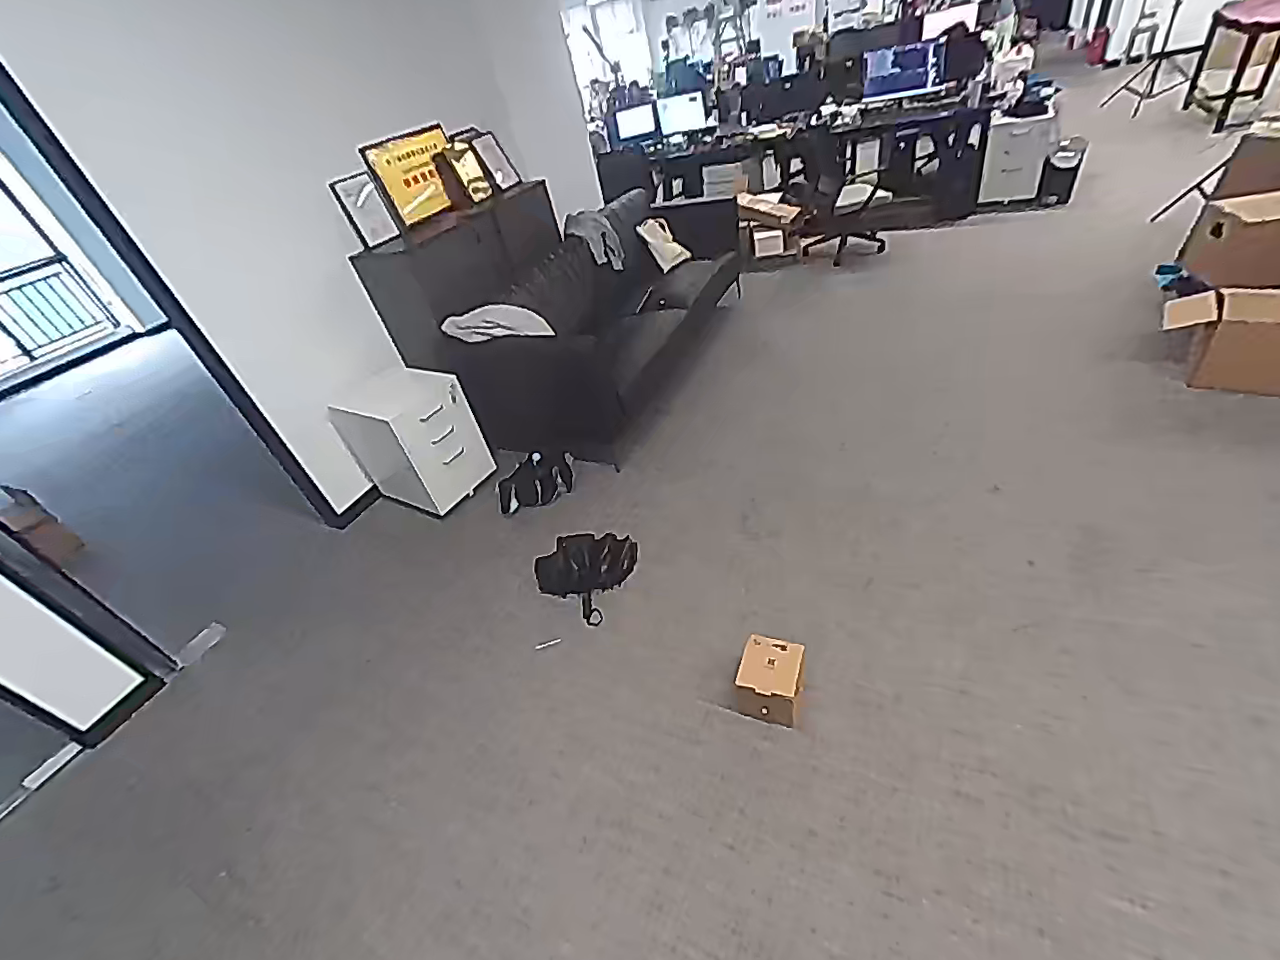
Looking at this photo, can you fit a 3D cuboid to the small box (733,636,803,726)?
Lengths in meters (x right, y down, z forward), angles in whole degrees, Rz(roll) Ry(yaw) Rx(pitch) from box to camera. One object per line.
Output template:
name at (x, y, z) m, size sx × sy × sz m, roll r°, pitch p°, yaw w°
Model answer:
small box at (0.389, 0.601, 1.614) m, size 0.168 × 0.176 × 0.179 m, roll 6°, pitch 43°, yaw 25°
